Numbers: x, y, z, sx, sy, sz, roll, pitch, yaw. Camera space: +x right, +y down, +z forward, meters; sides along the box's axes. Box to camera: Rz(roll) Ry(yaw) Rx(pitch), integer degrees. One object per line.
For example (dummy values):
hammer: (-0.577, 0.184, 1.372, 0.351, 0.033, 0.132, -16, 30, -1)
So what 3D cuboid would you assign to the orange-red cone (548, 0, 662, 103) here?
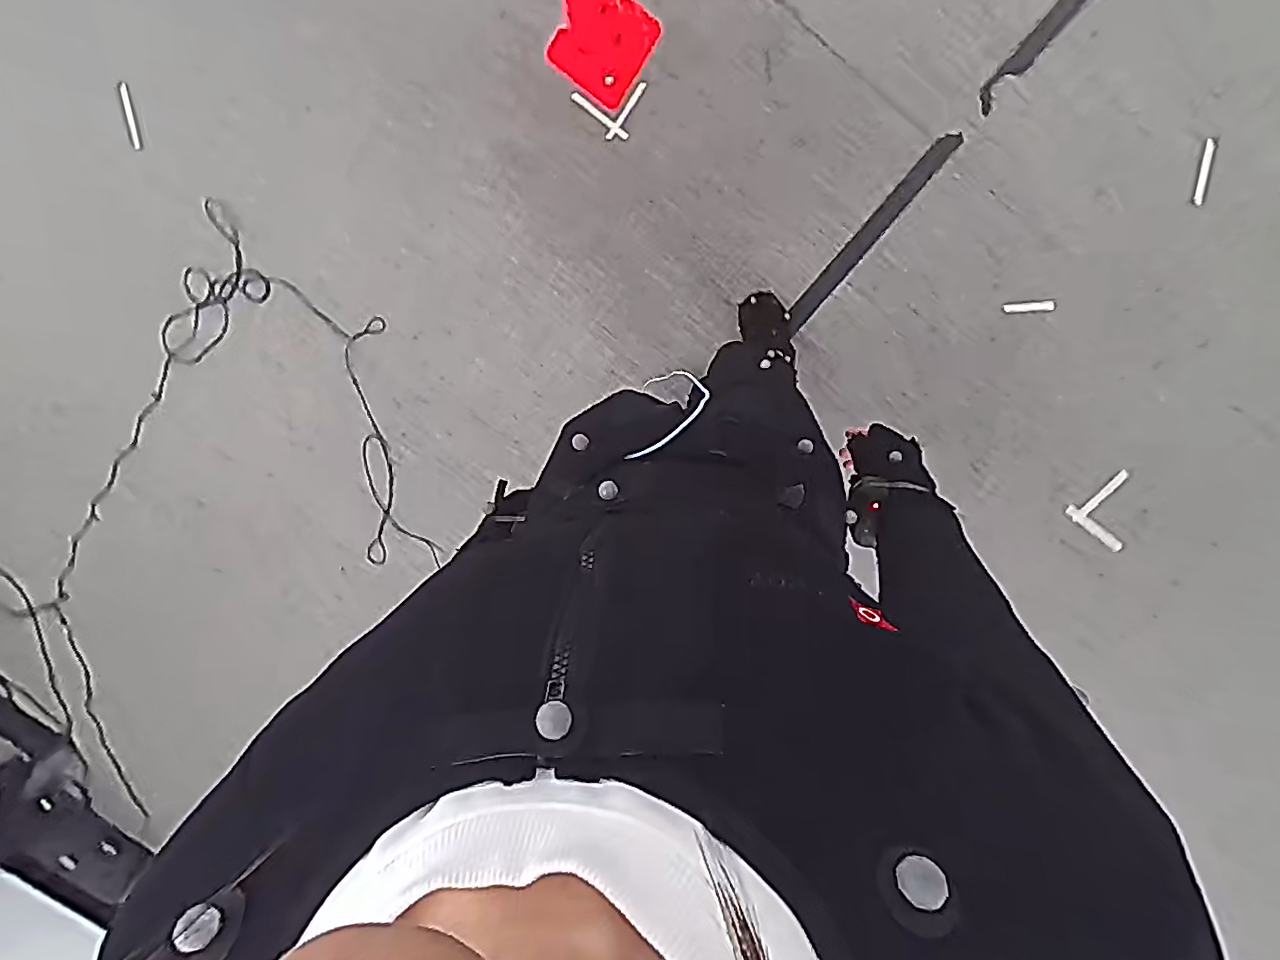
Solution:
orange-red cone: (-0.094, -0.919, 1.013, 0.198, 0.360, 0.199, 38, 105, -5)
